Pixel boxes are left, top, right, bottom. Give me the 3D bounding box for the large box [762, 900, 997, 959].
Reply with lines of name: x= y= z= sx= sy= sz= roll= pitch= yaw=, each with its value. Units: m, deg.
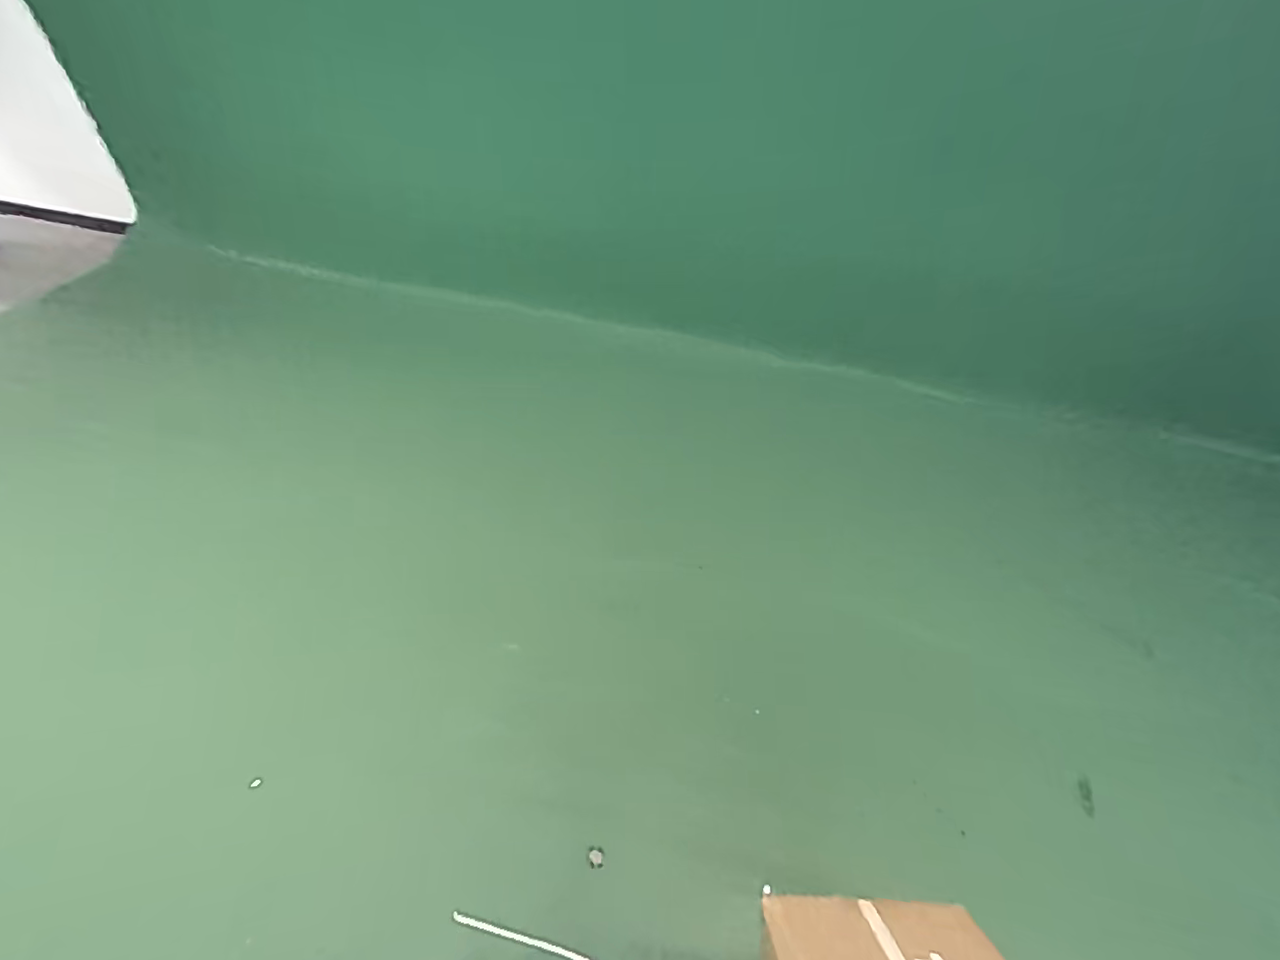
large box: x=0.337 y=0.800 z=0.633 sx=0.320 sy=0.408 sz=0.320 roll=3 pitch=86 yaw=1
